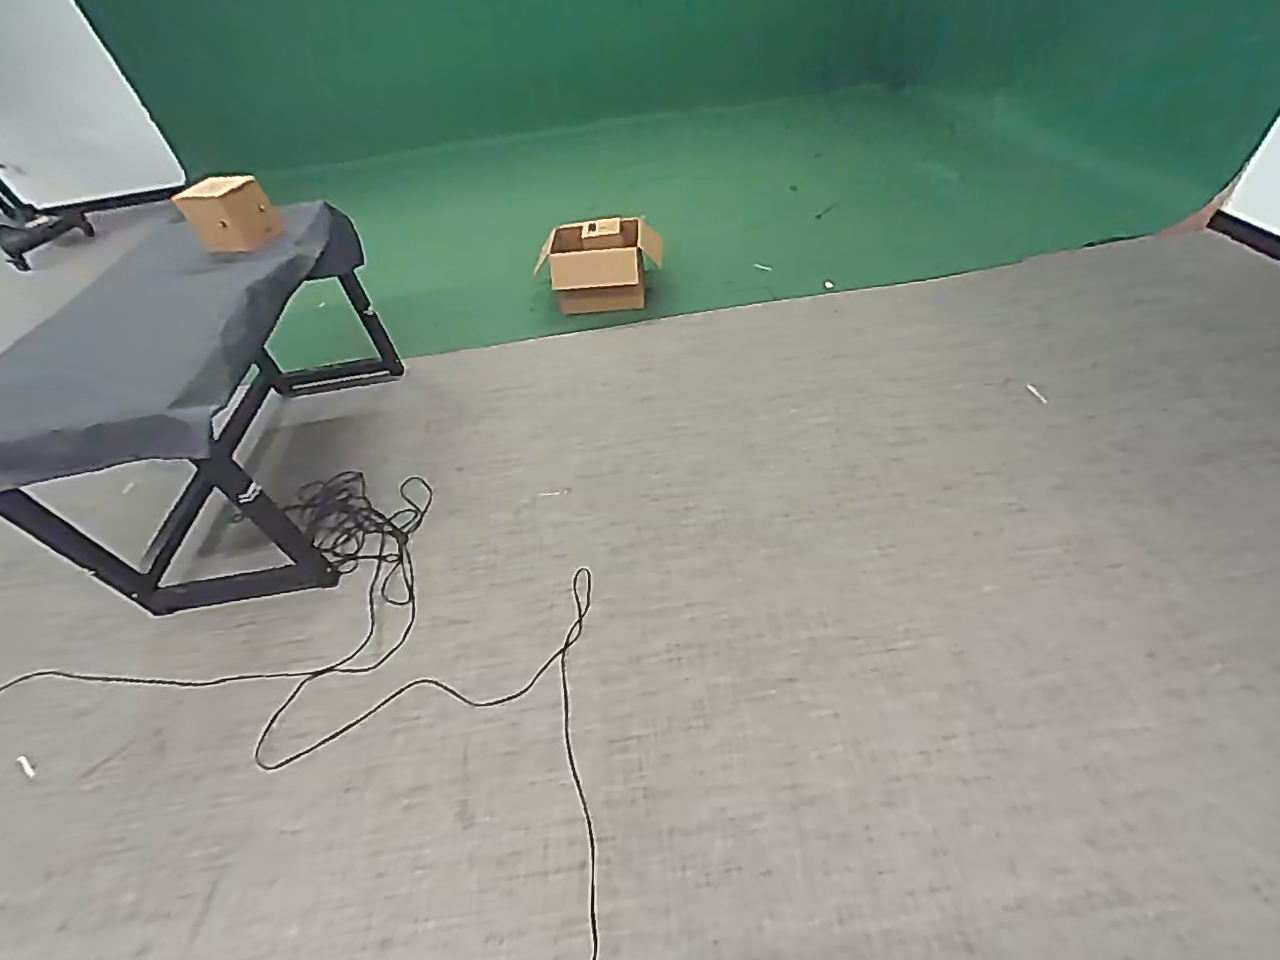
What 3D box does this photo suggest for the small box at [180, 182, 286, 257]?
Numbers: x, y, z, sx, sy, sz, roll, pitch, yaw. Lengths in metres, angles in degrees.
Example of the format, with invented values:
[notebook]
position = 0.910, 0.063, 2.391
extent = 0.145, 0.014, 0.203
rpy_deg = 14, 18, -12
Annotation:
[small box]
position = -1.290, -0.831, 1.731
extent = 0.179, 0.176, 0.168
rpy_deg = 4, 47, 13
